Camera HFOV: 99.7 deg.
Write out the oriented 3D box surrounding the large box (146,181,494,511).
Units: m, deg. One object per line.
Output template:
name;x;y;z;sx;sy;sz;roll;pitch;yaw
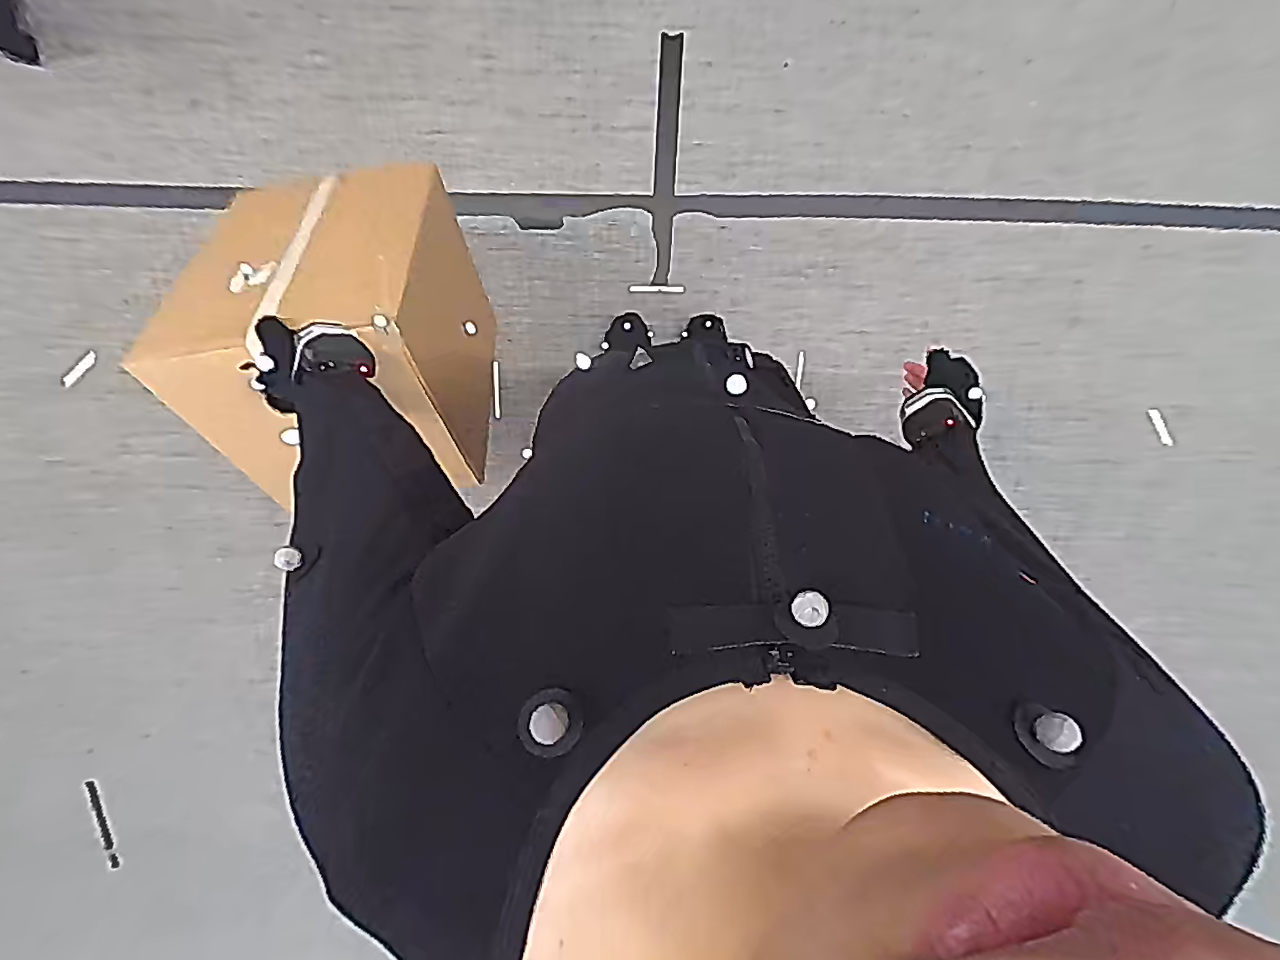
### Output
large box;-0.436;-0.212;0.864;0.320;0.408;0.320;-9;143;2
